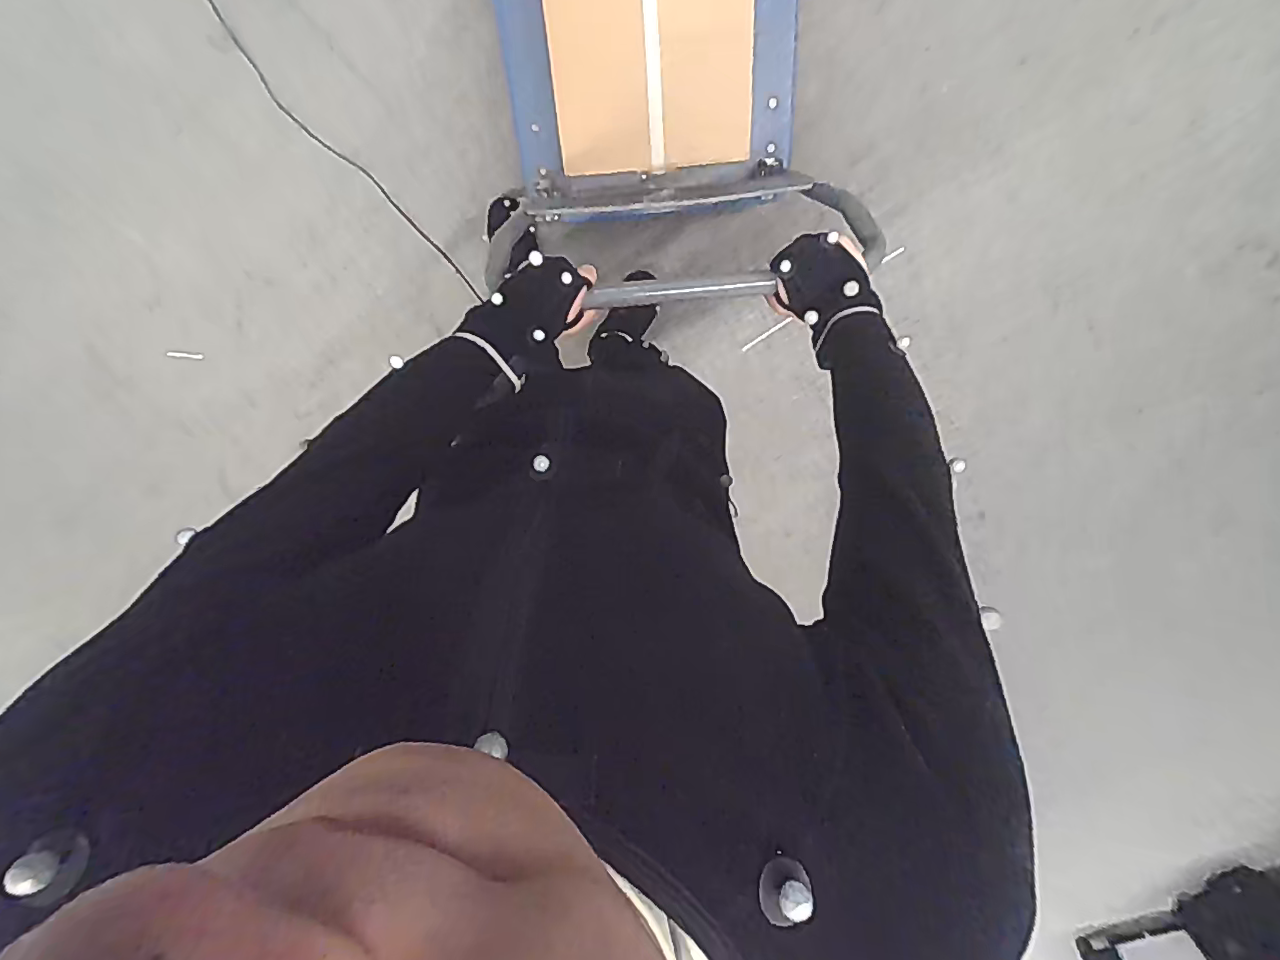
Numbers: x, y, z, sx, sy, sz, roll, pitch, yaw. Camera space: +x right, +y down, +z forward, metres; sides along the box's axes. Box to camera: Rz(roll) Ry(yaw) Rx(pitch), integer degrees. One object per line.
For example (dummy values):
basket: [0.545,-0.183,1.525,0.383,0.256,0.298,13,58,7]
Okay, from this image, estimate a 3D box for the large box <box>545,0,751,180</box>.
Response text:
large box: [0.015,-0.773,0.951,0.320,0.320,0.408,-4,120,2]
